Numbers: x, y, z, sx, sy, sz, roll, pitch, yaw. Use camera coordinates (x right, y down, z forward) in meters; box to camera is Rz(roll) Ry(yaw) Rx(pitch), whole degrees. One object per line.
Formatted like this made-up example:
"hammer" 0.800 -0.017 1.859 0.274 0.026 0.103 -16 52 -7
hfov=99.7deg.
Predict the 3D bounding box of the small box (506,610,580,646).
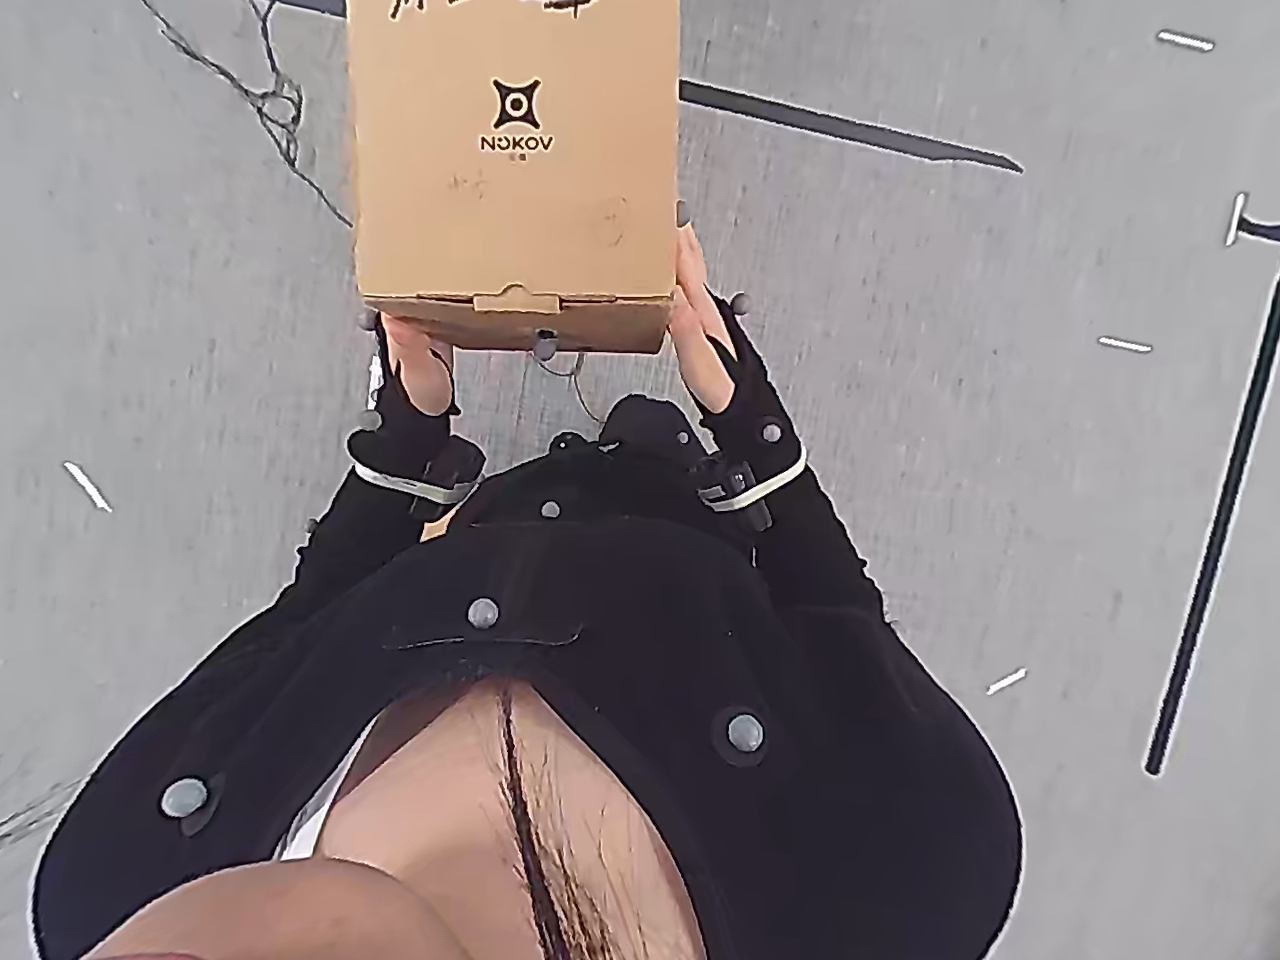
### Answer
"small box" -0.259 0.453 1.418 0.179 0.176 0.168 12 94 -5

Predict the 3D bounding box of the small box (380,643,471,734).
"small box" -0.553 0.536 1.410 0.179 0.176 0.168 3 97 -3

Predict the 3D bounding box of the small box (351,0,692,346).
"small box" -0.058 -0.184 0.344 0.168 0.176 0.179 1 95 -1

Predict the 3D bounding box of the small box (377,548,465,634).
"small box" -0.554 0.278 1.387 0.168 0.176 0.179 5 95 -3

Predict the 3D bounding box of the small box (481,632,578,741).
"small box" -0.248 0.469 1.254 0.179 0.176 0.168 13 94 -5
